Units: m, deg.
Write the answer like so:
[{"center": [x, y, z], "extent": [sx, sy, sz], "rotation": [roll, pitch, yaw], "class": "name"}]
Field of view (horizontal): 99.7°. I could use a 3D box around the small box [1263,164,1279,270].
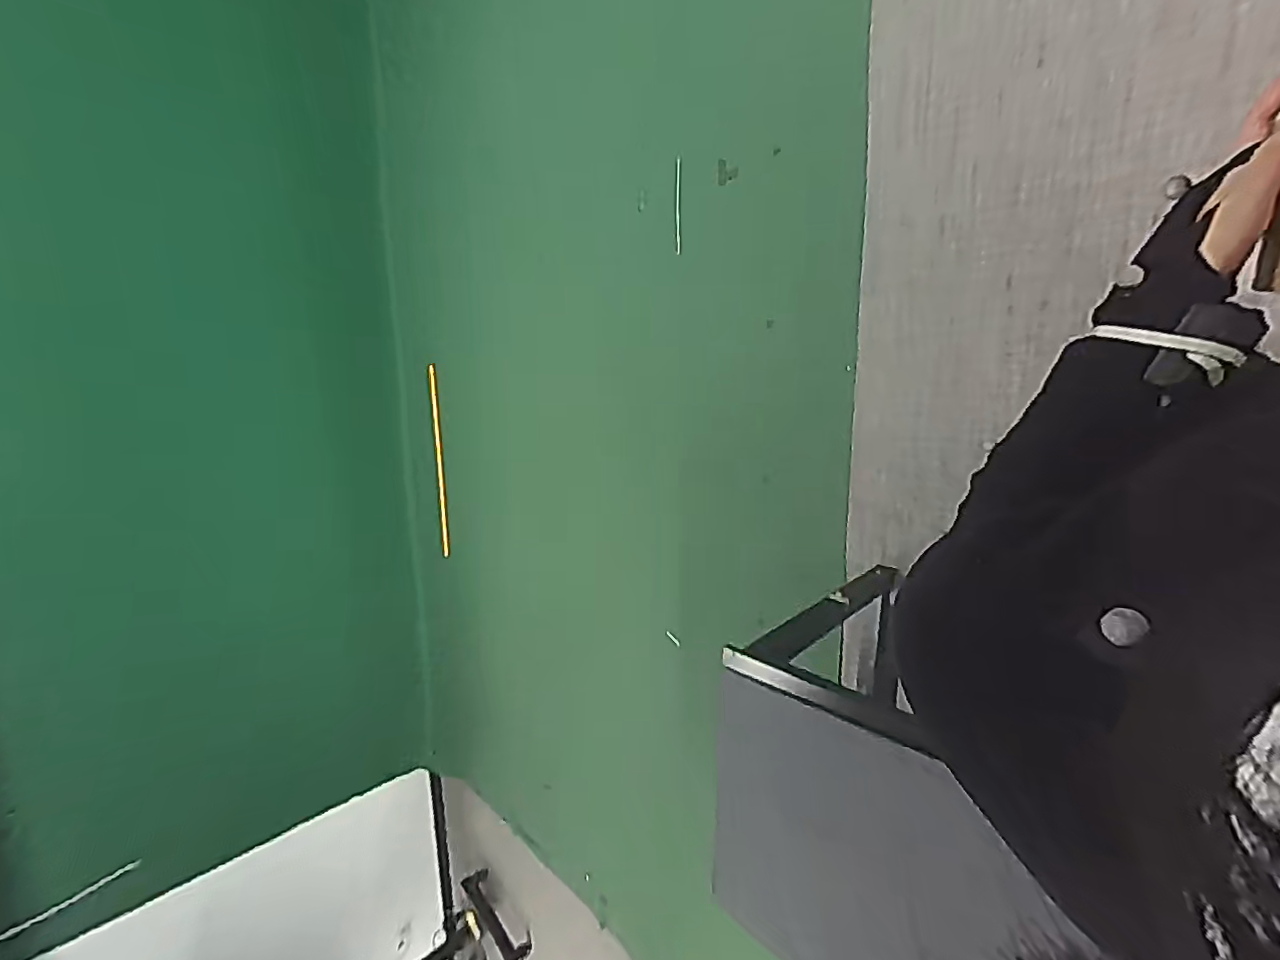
[{"center": [0.455, -0.201, 0.265], "extent": [0.168, 0.176, 0.179], "rotation": [8, 111, 40], "class": "small box"}]
